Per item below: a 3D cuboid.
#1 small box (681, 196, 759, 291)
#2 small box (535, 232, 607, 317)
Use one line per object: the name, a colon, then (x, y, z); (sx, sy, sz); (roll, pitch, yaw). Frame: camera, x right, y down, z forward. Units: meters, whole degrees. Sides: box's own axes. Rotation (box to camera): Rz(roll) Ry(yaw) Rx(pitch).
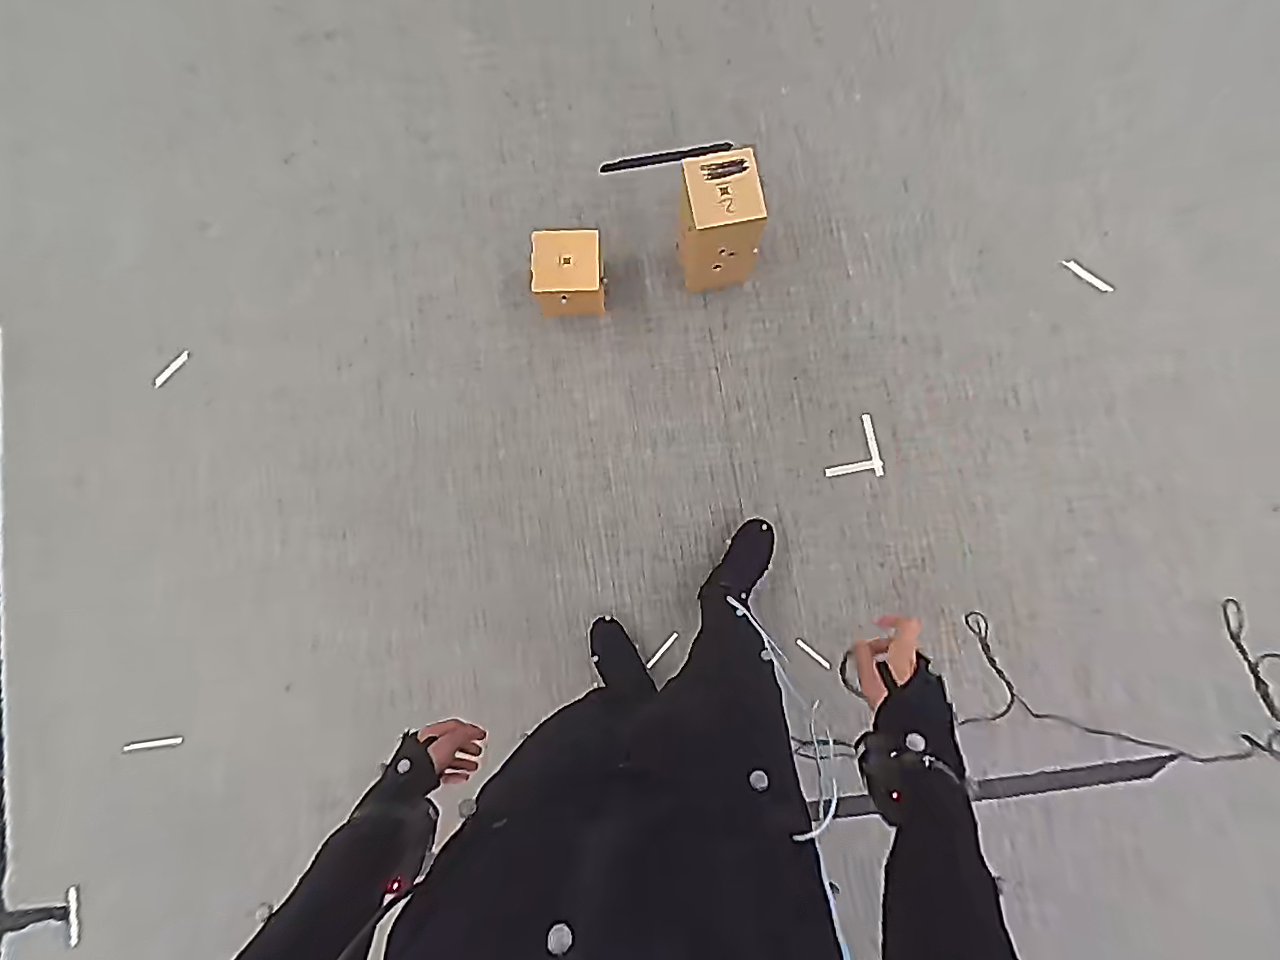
small box: (0.208, -0.633, 1.465); (0.179, 0.176, 0.168); (-10, 84, -1)
small box: (-0.180, -0.552, 1.466); (0.179, 0.176, 0.168); (-1, 84, 2)
